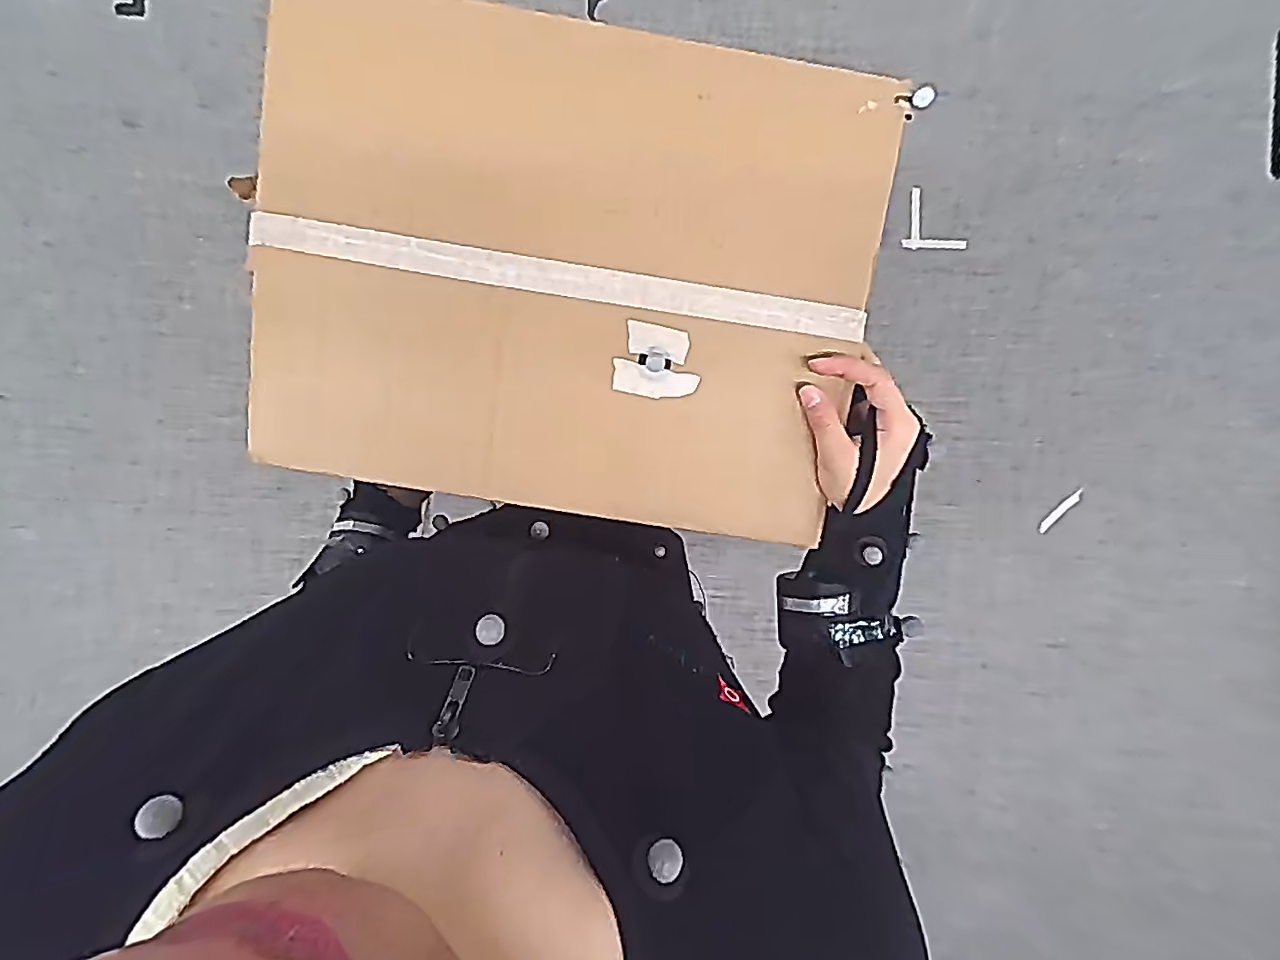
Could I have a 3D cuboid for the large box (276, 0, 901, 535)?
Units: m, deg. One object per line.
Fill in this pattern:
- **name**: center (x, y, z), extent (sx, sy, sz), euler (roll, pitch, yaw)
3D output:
- **large box**: center (-0.047, -0.152, 0.518), extent (0.408, 0.320, 0.320), euler (8, 99, -3)
